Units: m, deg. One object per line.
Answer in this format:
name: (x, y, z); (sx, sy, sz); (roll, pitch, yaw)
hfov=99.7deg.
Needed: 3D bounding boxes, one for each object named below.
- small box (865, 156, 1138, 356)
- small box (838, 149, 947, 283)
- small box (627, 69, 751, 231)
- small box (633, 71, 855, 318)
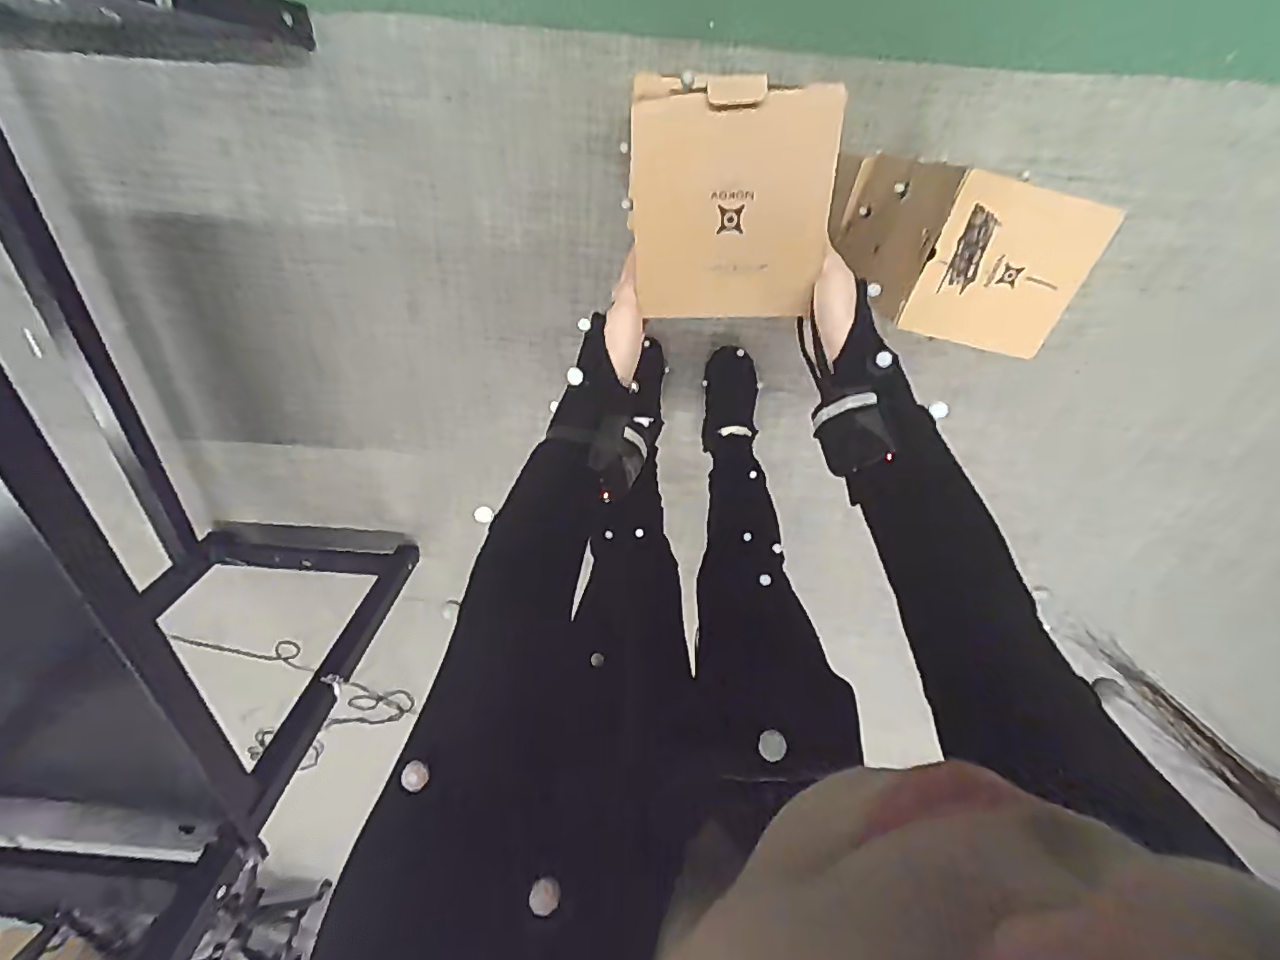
small box: (0.395, -0.268, 0.636); (0.179, 0.176, 0.168); (12, 123, -4)
small box: (0.411, -0.357, 0.773); (0.179, 0.176, 0.168); (14, 123, -6)
small box: (0.074, -0.442, 0.742); (0.168, 0.176, 0.179); (4, 121, 1)
small box: (0.082, -0.264, 0.505); (0.168, 0.176, 0.179); (0, 125, 5)
